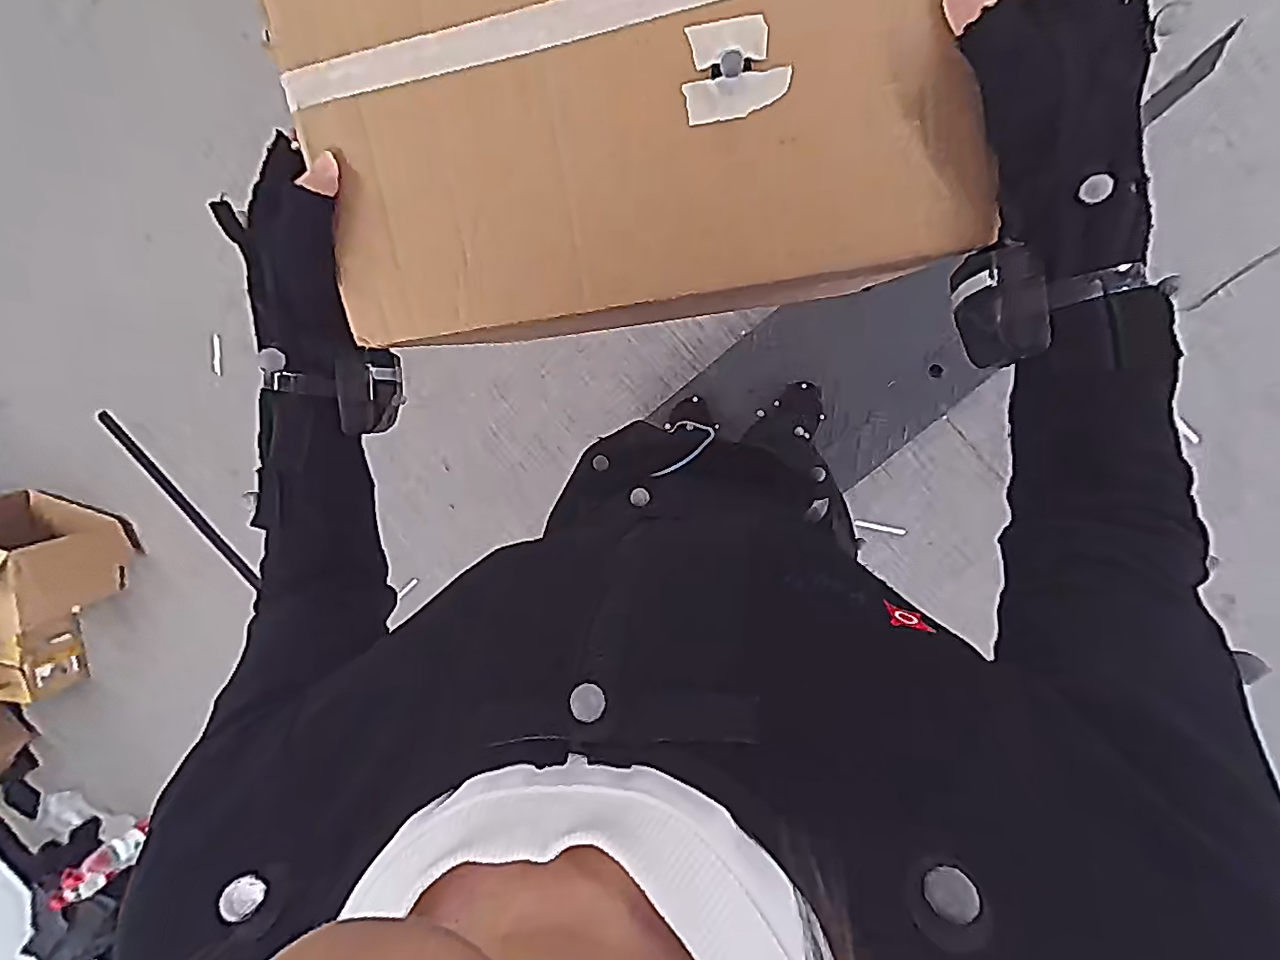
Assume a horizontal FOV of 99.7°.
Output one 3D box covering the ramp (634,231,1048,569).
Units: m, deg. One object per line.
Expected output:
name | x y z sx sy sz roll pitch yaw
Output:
ramp | 0.510 -0.261 1.413 0.991 0.206 0.509 -41 89 14

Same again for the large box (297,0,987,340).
large box | 0.005 -0.307 0.459 0.408 0.320 0.320 -6 105 9
